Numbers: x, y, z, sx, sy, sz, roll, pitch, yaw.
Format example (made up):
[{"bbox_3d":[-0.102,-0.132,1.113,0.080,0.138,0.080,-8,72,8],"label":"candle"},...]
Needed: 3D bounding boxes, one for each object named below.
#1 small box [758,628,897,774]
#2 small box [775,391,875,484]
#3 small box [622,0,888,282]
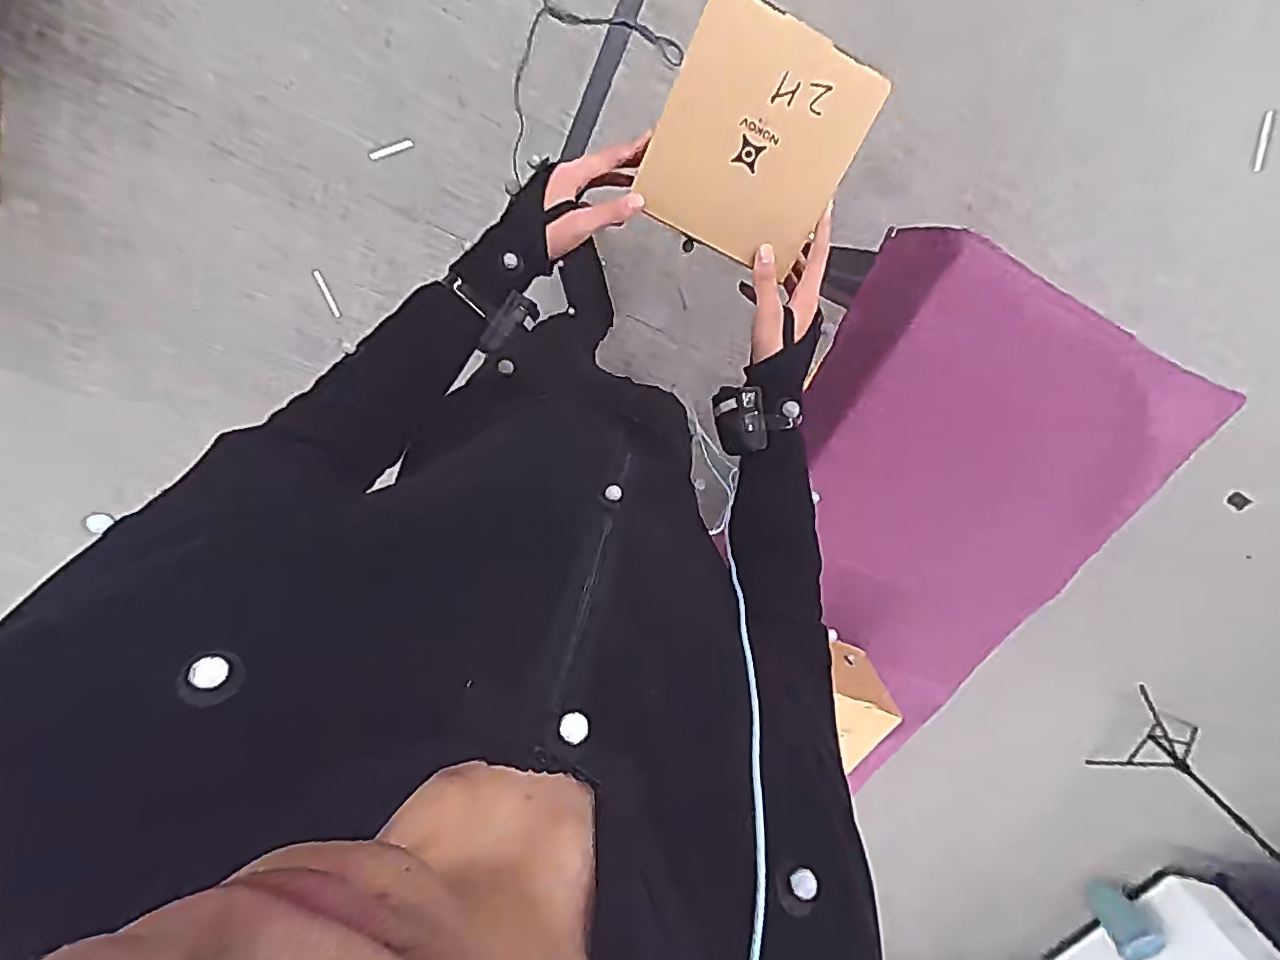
[{"bbox_3d":[0.351,0.427,1.057,0.168,0.176,0.179,25,112,-16],"label":"small box"},{"bbox_3d":[0.495,-0.123,1.481,0.168,0.176,0.179,19,116,-14],"label":"small box"},{"bbox_3d":[0.094,-0.320,0.526,0.168,0.176,0.179,23,114,-11],"label":"small box"}]
